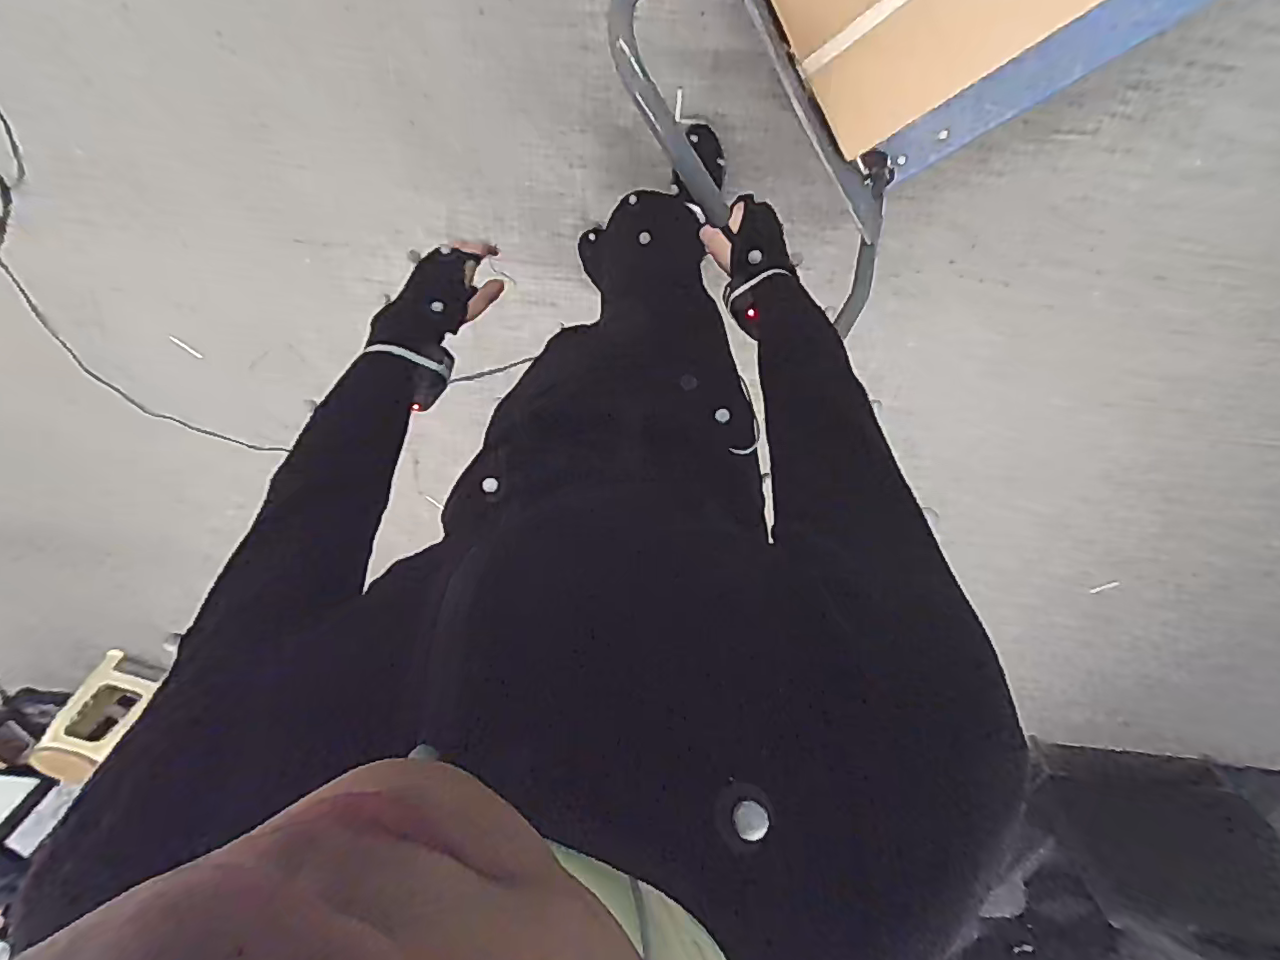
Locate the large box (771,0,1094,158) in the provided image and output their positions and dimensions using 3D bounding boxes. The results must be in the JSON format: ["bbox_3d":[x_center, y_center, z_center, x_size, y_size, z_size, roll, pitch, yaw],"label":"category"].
[{"bbox_3d":[0.440,-0.786,0.808,0.408,0.320,0.320,-20,124,37],"label":"large box"}]
